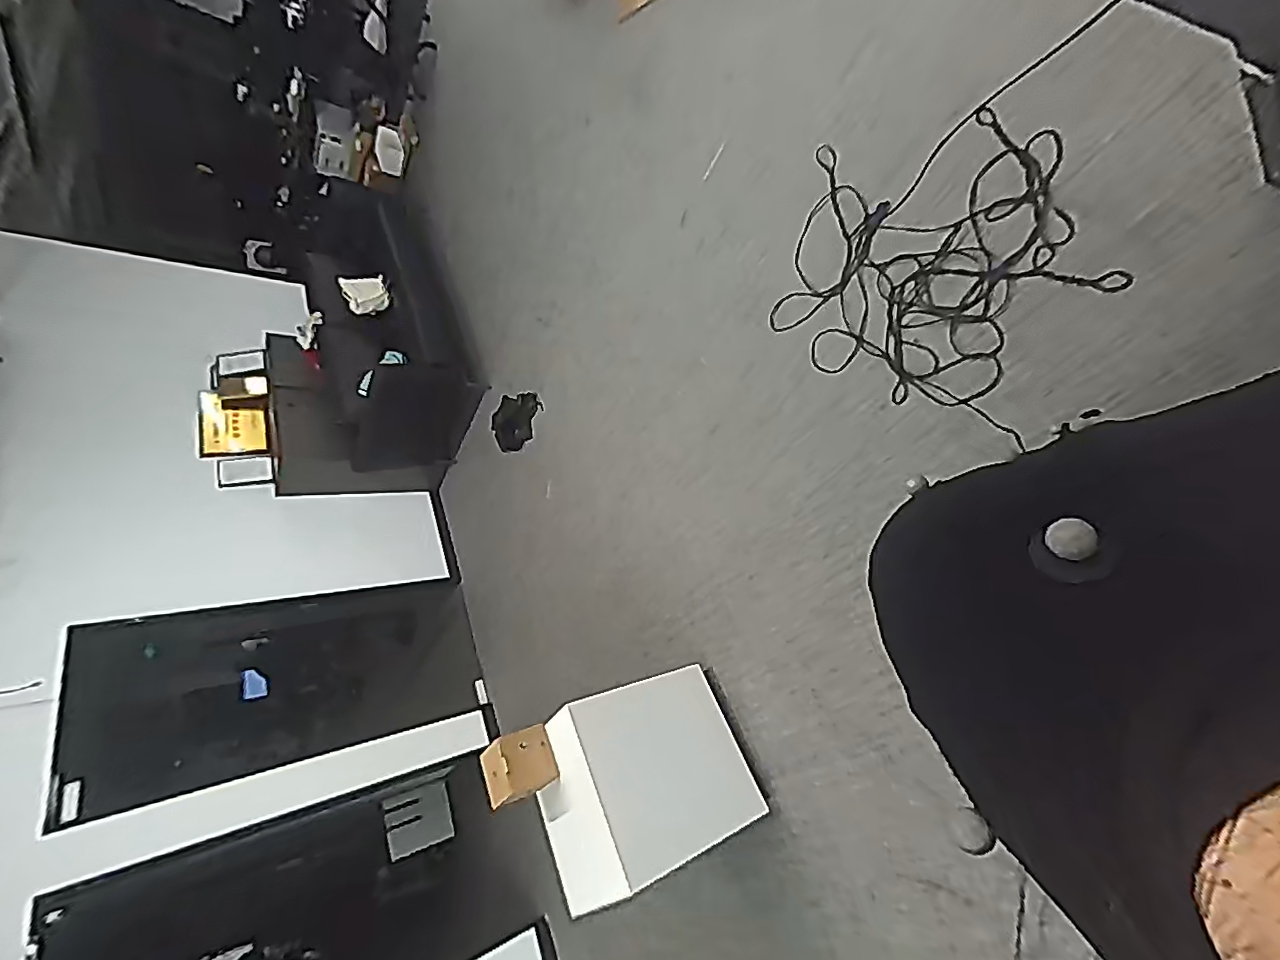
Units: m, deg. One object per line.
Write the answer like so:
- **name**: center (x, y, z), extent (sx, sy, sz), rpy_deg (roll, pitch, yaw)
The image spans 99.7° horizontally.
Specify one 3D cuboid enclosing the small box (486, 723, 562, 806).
- **small box**: center (-0.365, 0.895, 1.713), extent (0.179, 0.176, 0.168), rpy_deg (-54, 50, 38)
